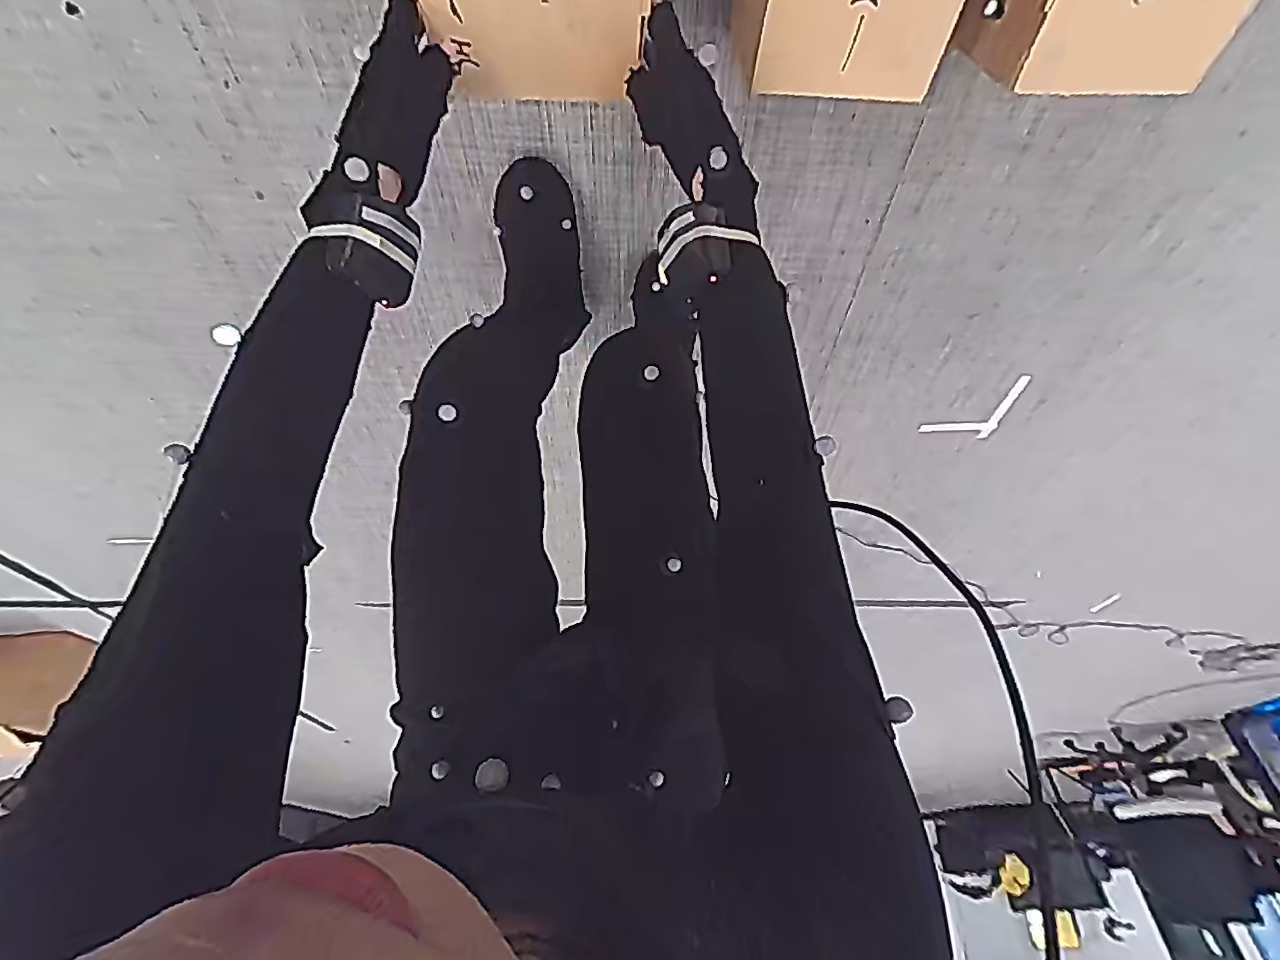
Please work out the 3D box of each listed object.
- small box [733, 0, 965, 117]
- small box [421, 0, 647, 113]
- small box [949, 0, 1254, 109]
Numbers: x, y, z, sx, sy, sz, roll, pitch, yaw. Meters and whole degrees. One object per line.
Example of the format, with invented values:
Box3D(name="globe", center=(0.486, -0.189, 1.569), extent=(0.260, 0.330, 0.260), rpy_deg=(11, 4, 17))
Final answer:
Box3D(name="small box", center=(0.185, -0.464, 0.488), extent=(0.168, 0.176, 0.179), rpy_deg=(2, 144, -3))
Box3D(name="small box", center=(-0.085, -0.439, 0.454), extent=(0.179, 0.176, 0.168), rpy_deg=(0, 145, -4))
Box3D(name="small box", center=(0.424, -0.466, 0.494), extent=(0.179, 0.176, 0.168), rpy_deg=(-1, 144, -1))
